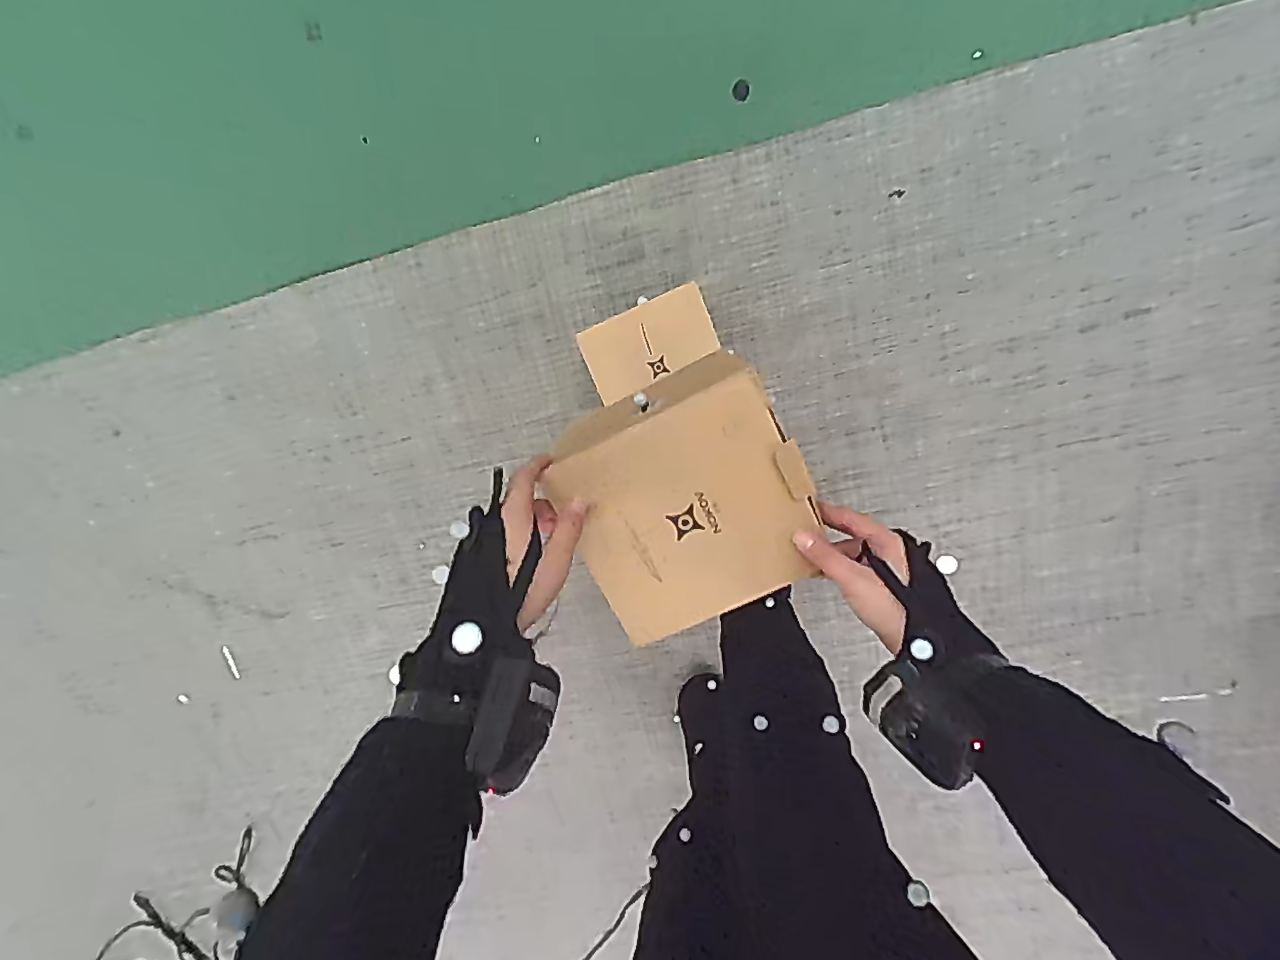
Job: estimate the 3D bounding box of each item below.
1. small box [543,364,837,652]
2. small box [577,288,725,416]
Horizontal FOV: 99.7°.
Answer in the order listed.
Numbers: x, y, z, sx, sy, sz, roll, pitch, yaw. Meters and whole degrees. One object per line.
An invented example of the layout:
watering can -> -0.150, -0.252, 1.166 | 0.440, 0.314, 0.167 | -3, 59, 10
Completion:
small box -> 0.040, 0.011, 0.479 | 0.179, 0.176, 0.168 | -26, 105, 9
small box -> 0.034, -0.149, 0.761 | 0.168, 0.176, 0.179 | -22, 101, 10
